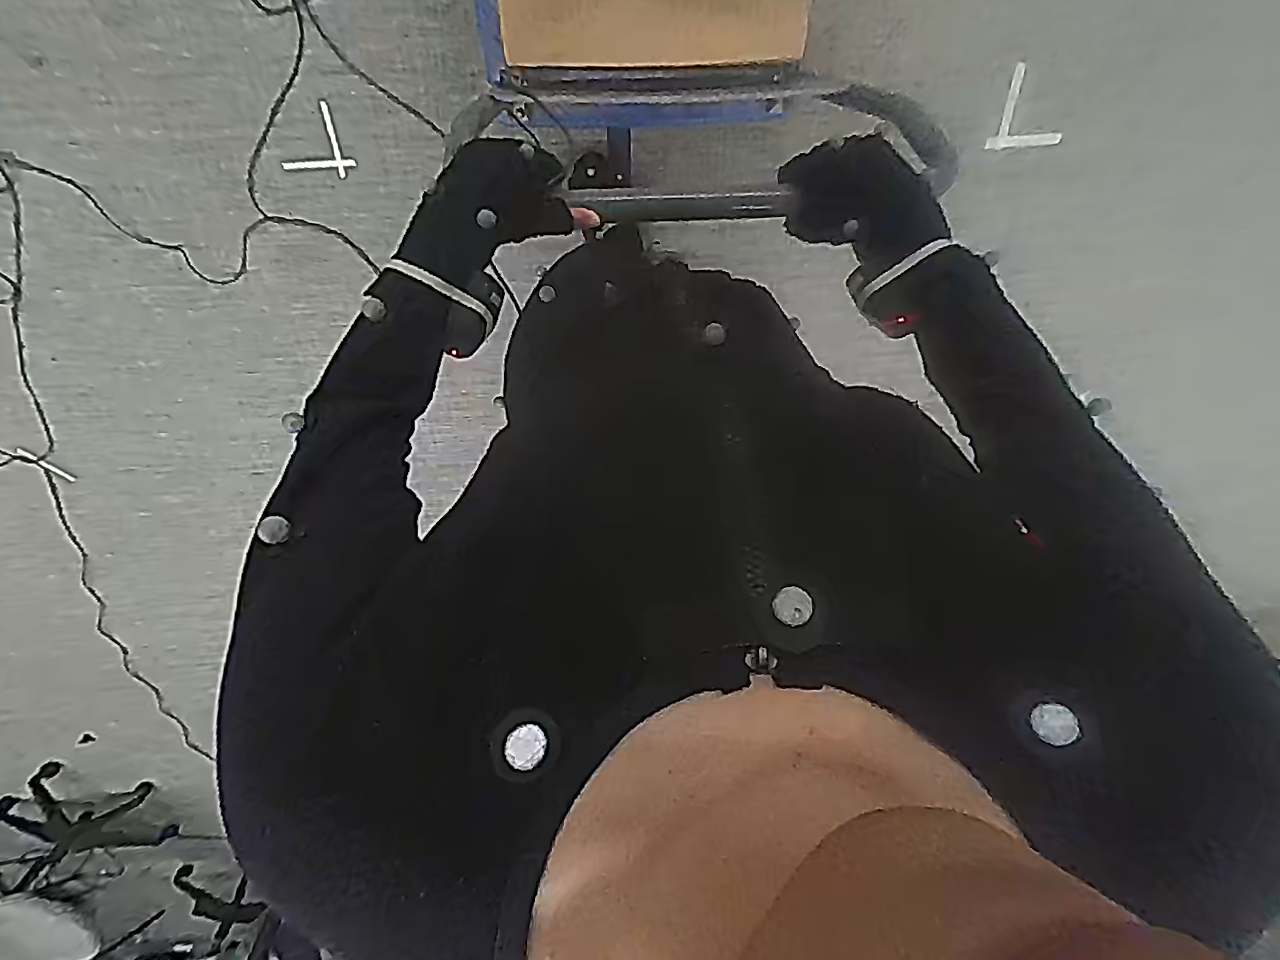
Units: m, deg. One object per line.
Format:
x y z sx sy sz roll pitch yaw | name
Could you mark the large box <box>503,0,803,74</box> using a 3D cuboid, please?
0.004 -0.787 0.776 0.408 0.320 0.320 -3 126 -4 | large box
